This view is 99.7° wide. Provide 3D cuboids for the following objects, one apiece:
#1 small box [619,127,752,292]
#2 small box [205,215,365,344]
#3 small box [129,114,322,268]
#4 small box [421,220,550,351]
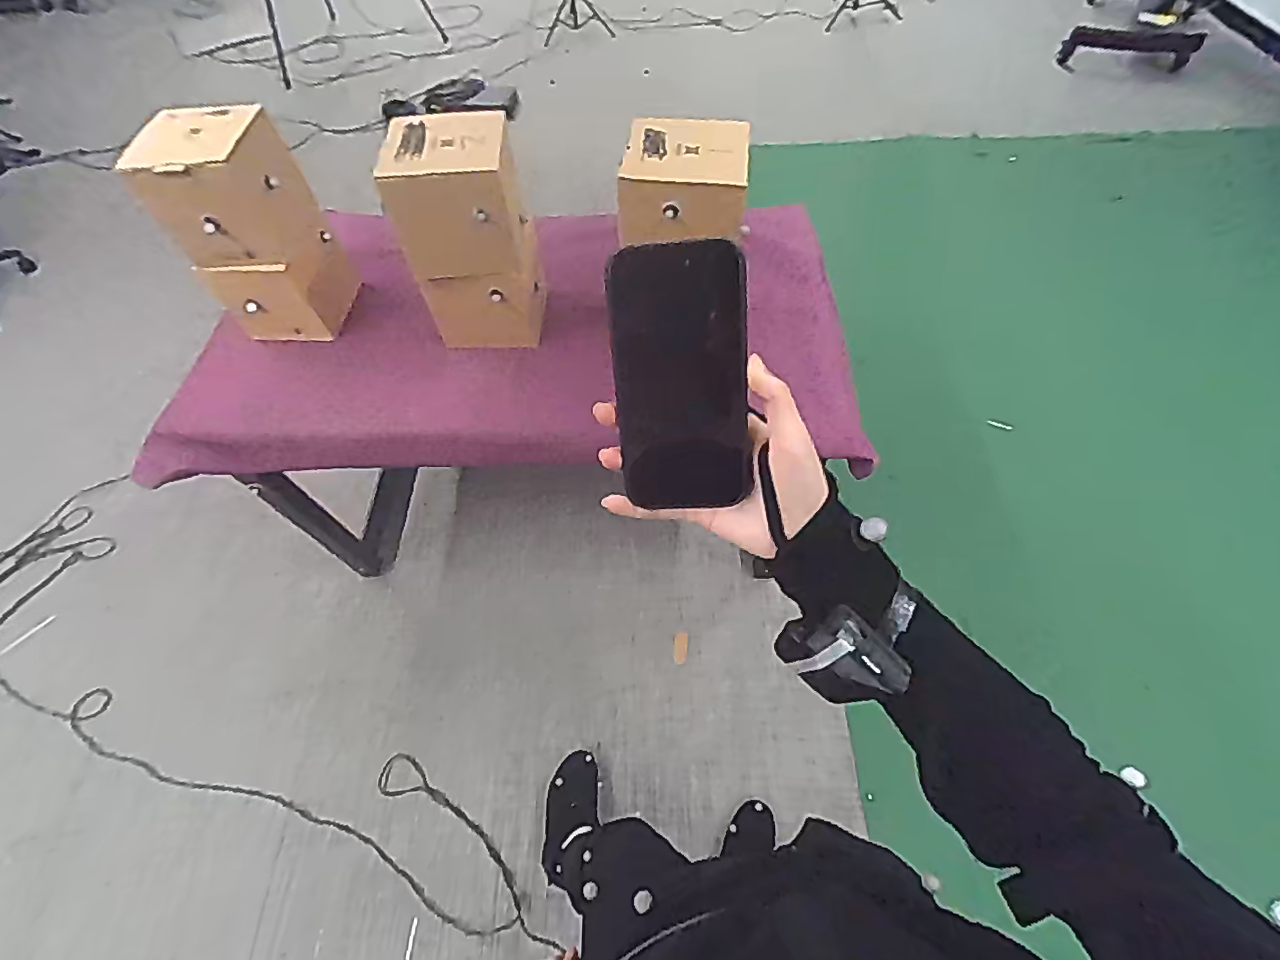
[{"bbox_3d":[0.071,-0.410,0.828,0.179,0.176,0.168,6,58,6],"label":"small box"},{"bbox_3d":[-0.659,-0.376,1.032,0.168,0.176,0.179,1,58,3],"label":"small box"},{"bbox_3d":[-0.665,-0.470,0.897,0.168,0.176,0.179,-3,59,0],"label":"small box"},{"bbox_3d":[-0.270,-0.354,0.999,0.179,0.176,0.168,1,58,3],"label":"small box"}]
